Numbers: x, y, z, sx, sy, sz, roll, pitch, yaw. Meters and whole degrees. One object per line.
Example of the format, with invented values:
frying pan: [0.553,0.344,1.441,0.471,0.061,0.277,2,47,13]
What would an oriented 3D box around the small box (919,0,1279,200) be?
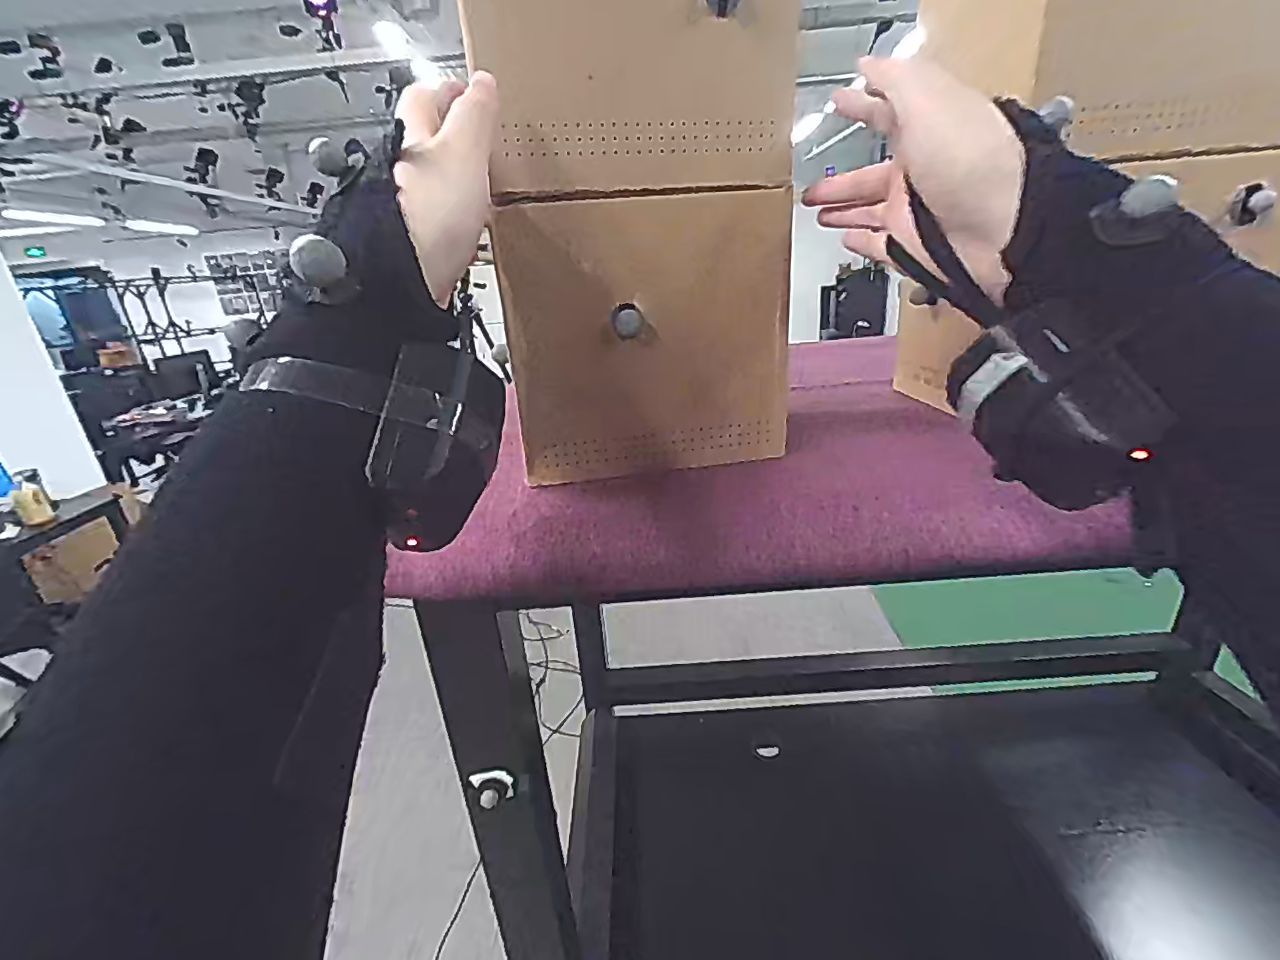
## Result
small box: [0.312,-0.294,0.369,0.179,0.176,0.168,-2,20,2]

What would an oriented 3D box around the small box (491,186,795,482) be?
small box: [-0.001,-0.105,0.398,0.179,0.176,0.168,-7,22,-8]

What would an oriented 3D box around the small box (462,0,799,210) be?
small box: [-0.014,-0.258,0.339,0.179,0.176,0.168,-9,21,-10]

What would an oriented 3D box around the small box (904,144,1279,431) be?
small box: [0.324,-0.138,0.420,0.179,0.176,0.168,-3,20,2]
